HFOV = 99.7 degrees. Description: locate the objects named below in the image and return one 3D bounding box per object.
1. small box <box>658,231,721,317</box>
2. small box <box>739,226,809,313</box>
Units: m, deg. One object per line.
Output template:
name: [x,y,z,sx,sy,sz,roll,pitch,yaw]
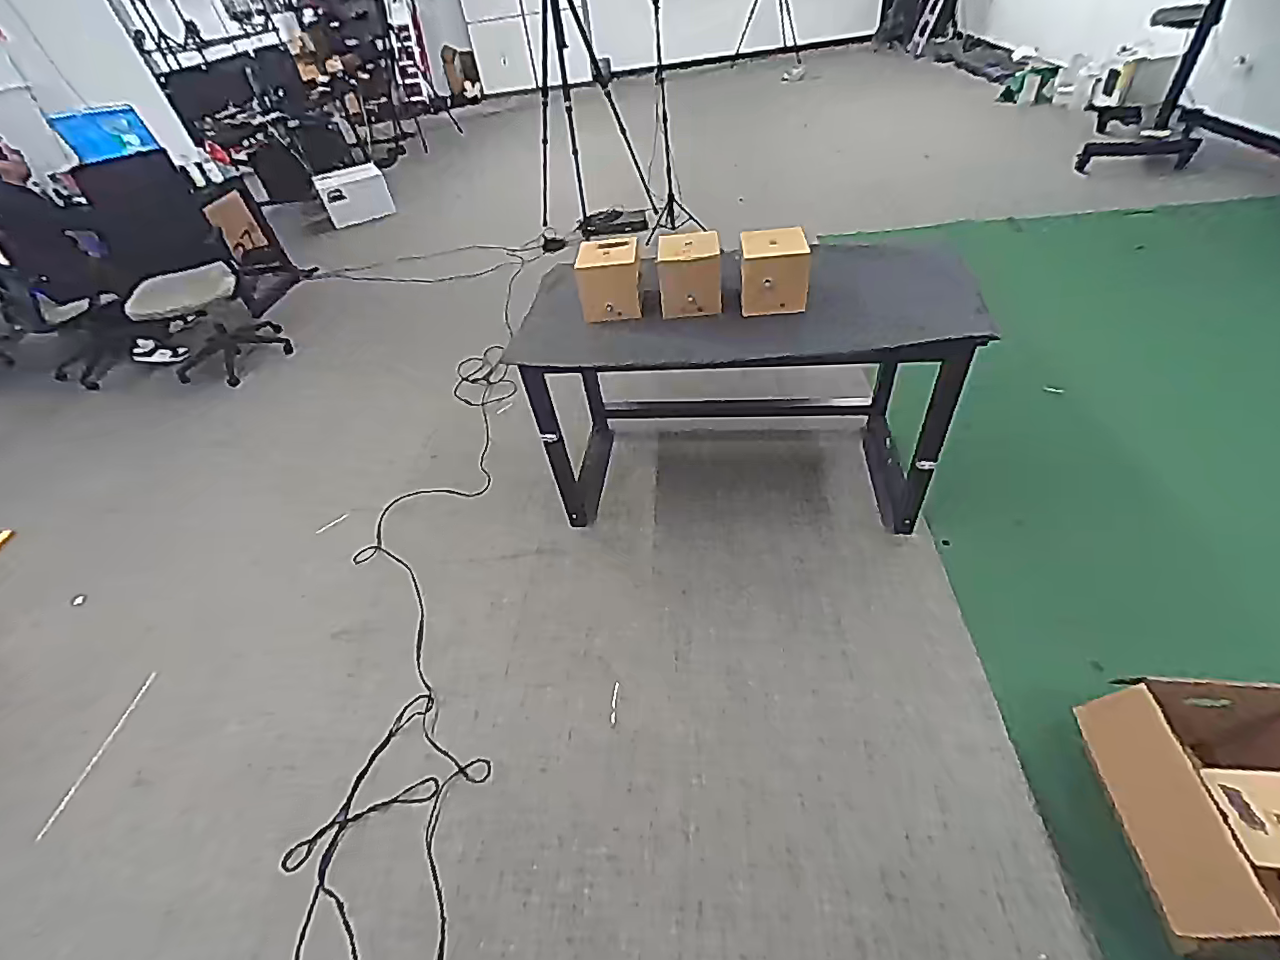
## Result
small box: [0.140,-0.577,1.519,0.168,0.176,0.179,-3,44,7]
small box: [0.359,-0.566,1.472,0.168,0.176,0.179,-3,44,7]
